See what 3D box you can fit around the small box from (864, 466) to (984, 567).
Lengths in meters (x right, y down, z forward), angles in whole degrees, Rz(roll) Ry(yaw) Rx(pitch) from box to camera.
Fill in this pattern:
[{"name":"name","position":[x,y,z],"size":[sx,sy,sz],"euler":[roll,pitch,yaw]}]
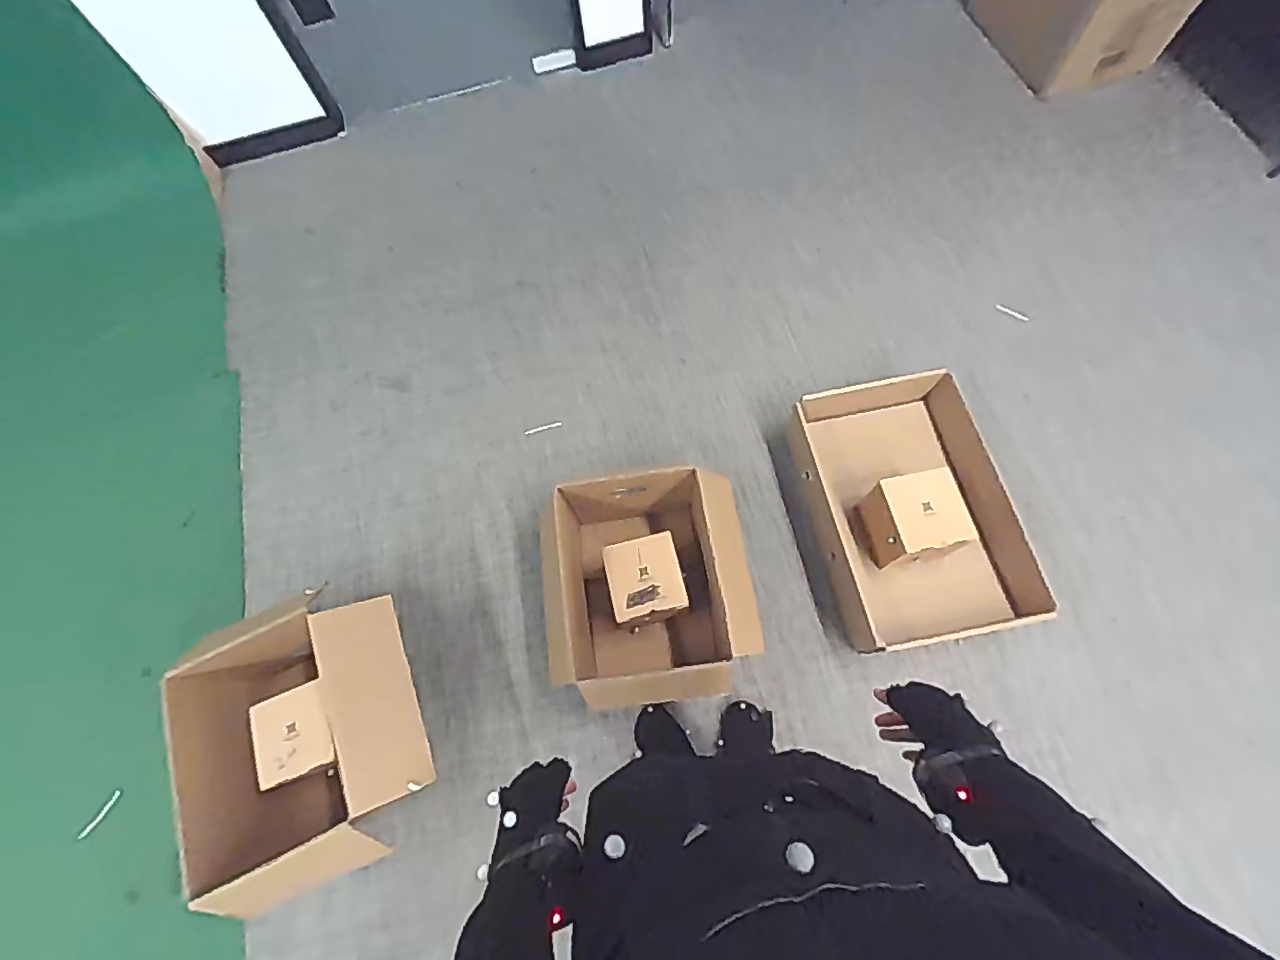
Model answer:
[{"name":"small box","position":[0.650,0.090,1.264],"size":[0.168,0.176,0.179],"euler":[-12,69,0]}]
